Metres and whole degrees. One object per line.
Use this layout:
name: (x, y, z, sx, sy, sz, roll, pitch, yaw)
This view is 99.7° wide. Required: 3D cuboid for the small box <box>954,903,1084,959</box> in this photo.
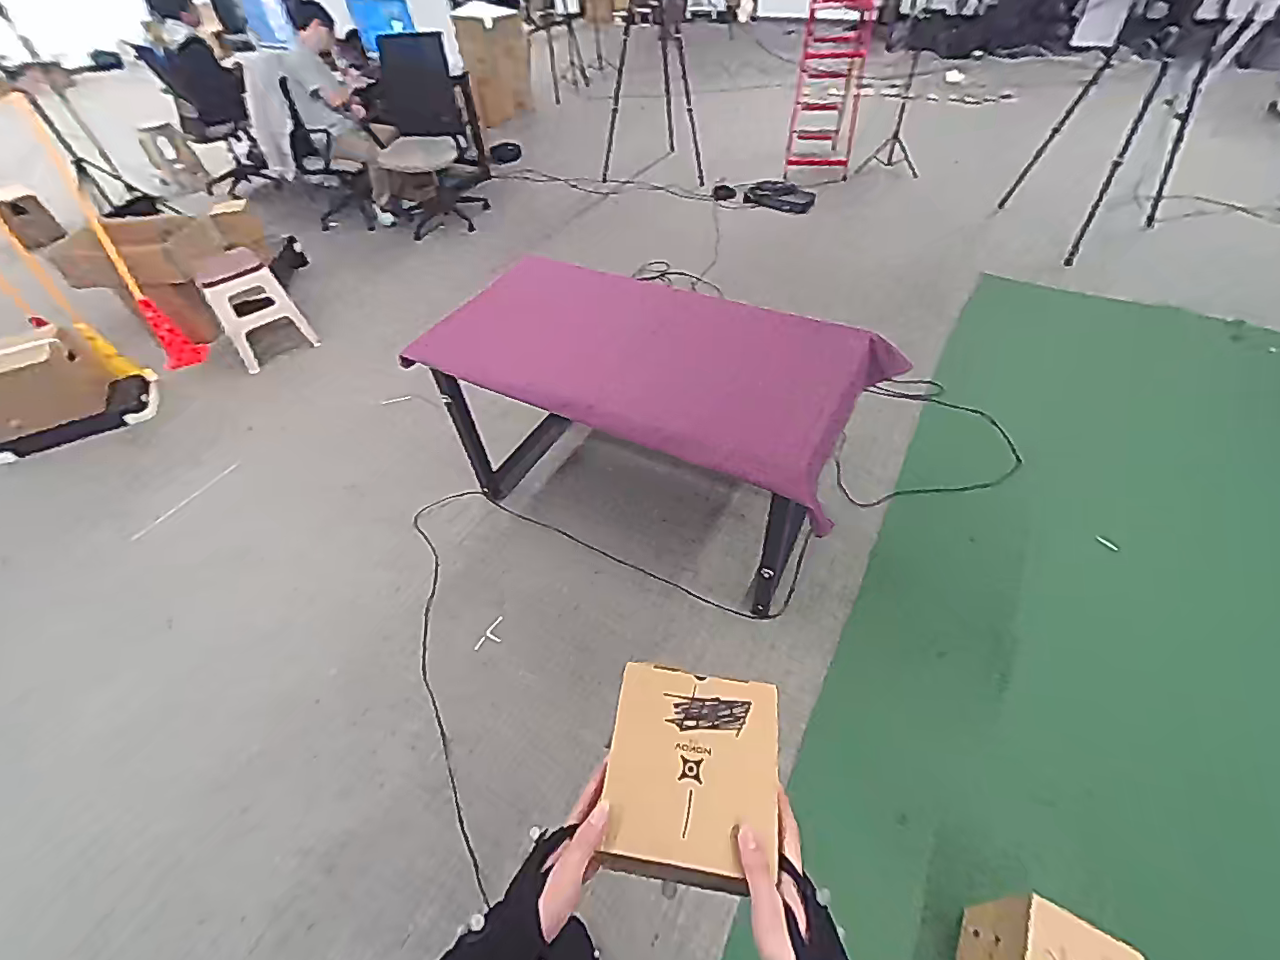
small box: (0.764, 1.020, 1.109, 0.179, 0.176, 0.168, 23, 52, 21)
